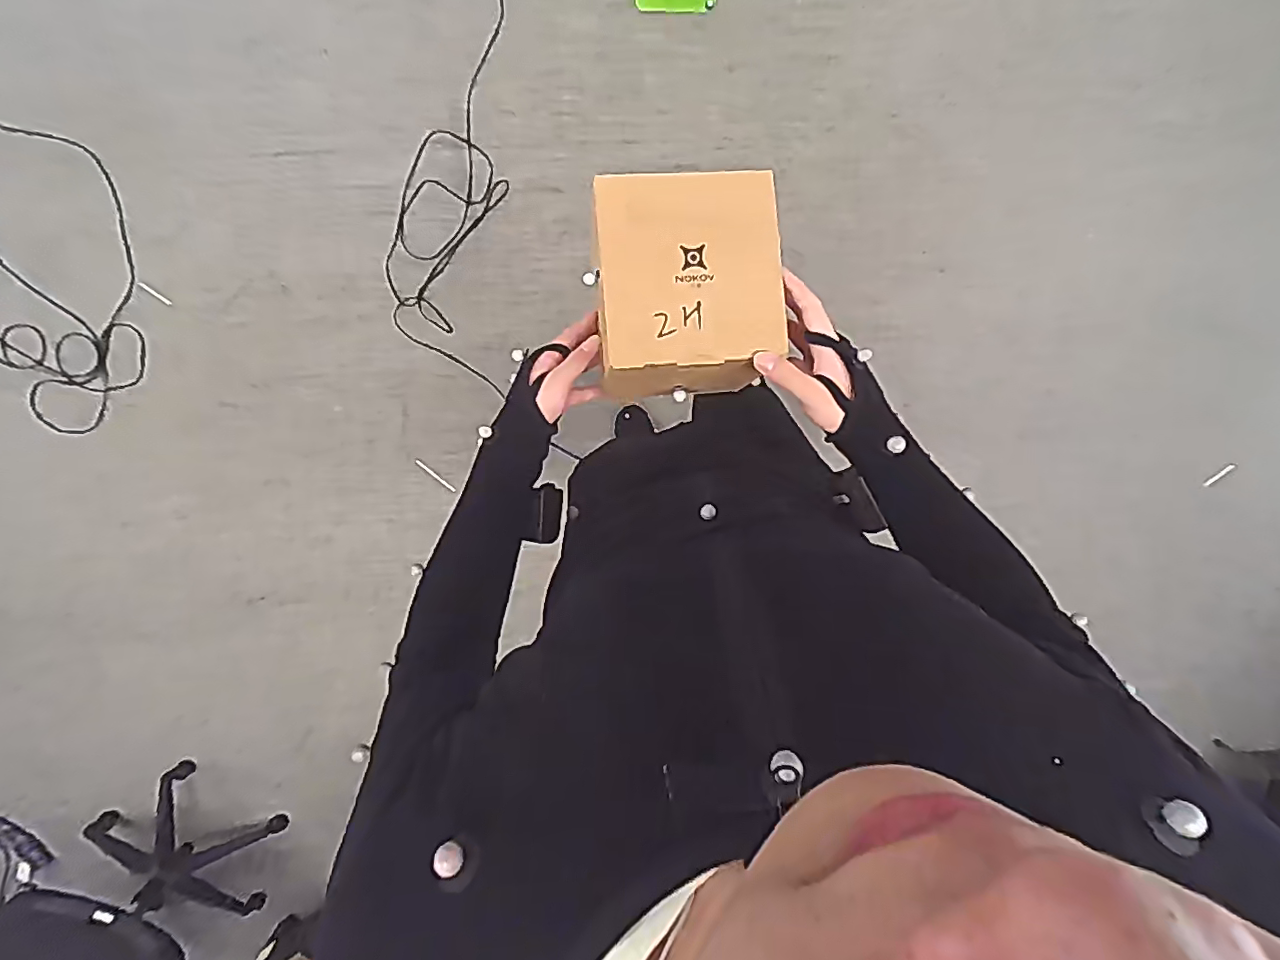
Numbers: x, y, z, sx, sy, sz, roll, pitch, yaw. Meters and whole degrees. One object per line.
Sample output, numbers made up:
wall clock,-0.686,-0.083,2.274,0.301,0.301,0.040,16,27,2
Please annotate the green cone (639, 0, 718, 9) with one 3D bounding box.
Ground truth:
green cone,0.094,-1.210,1.128,0.202,0.368,0.200,-1,103,0
